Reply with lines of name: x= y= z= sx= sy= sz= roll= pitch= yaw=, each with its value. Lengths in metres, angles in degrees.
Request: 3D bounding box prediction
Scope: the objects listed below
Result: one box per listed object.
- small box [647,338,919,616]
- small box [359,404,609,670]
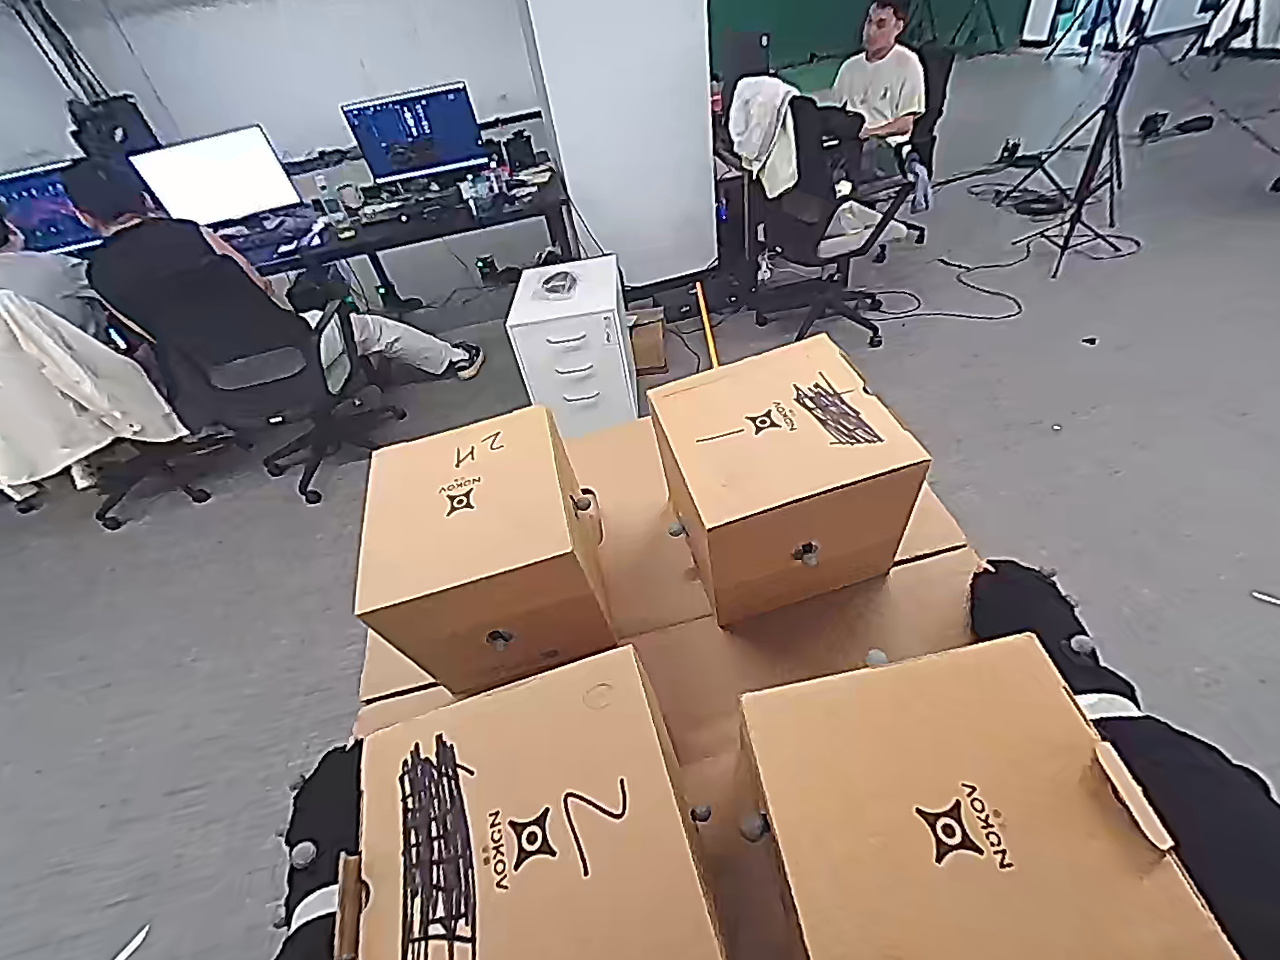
small box: x=0.120 y=0.002 z=0.508 sx=0.179 sy=0.176 sz=0.168 roll=-17 pitch=50 yaw=-1
small box: x=-0.134 y=0.062 z=0.514 sx=0.168 sy=0.176 sz=0.179 roll=-15 pitch=49 yaw=-1
